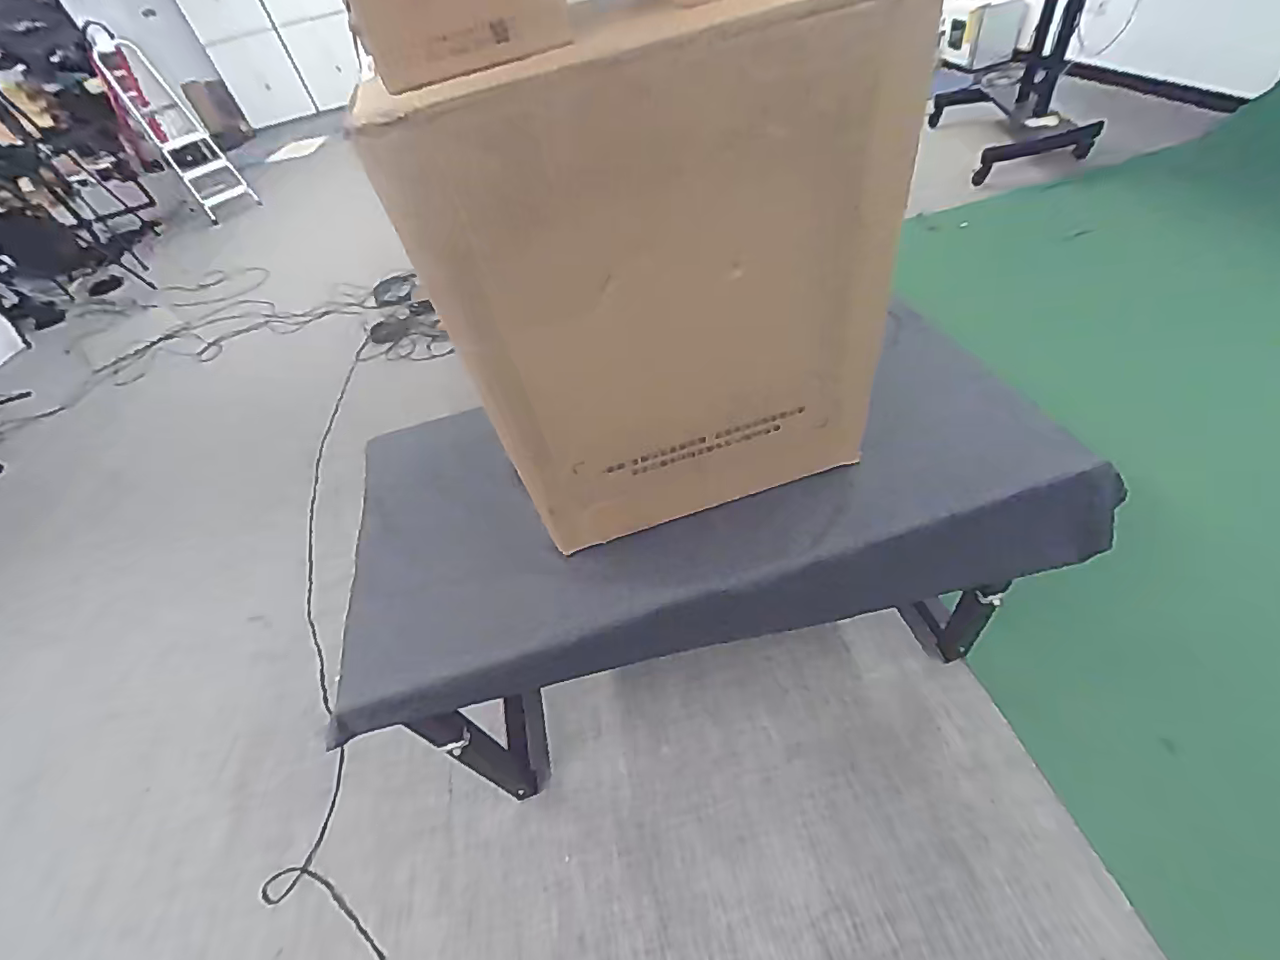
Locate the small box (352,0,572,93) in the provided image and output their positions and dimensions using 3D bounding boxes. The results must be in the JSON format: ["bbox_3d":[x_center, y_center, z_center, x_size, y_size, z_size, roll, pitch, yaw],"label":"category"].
[{"bbox_3d":[-0.166,-0.453,0.451,0.168,0.176,0.179,-19,50,-5],"label":"small box"}]

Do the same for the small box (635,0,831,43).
[{"bbox_3d":[0.086,-0.529,0.486,0.179,0.176,0.168,-20,49,-5],"label":"small box"}]
